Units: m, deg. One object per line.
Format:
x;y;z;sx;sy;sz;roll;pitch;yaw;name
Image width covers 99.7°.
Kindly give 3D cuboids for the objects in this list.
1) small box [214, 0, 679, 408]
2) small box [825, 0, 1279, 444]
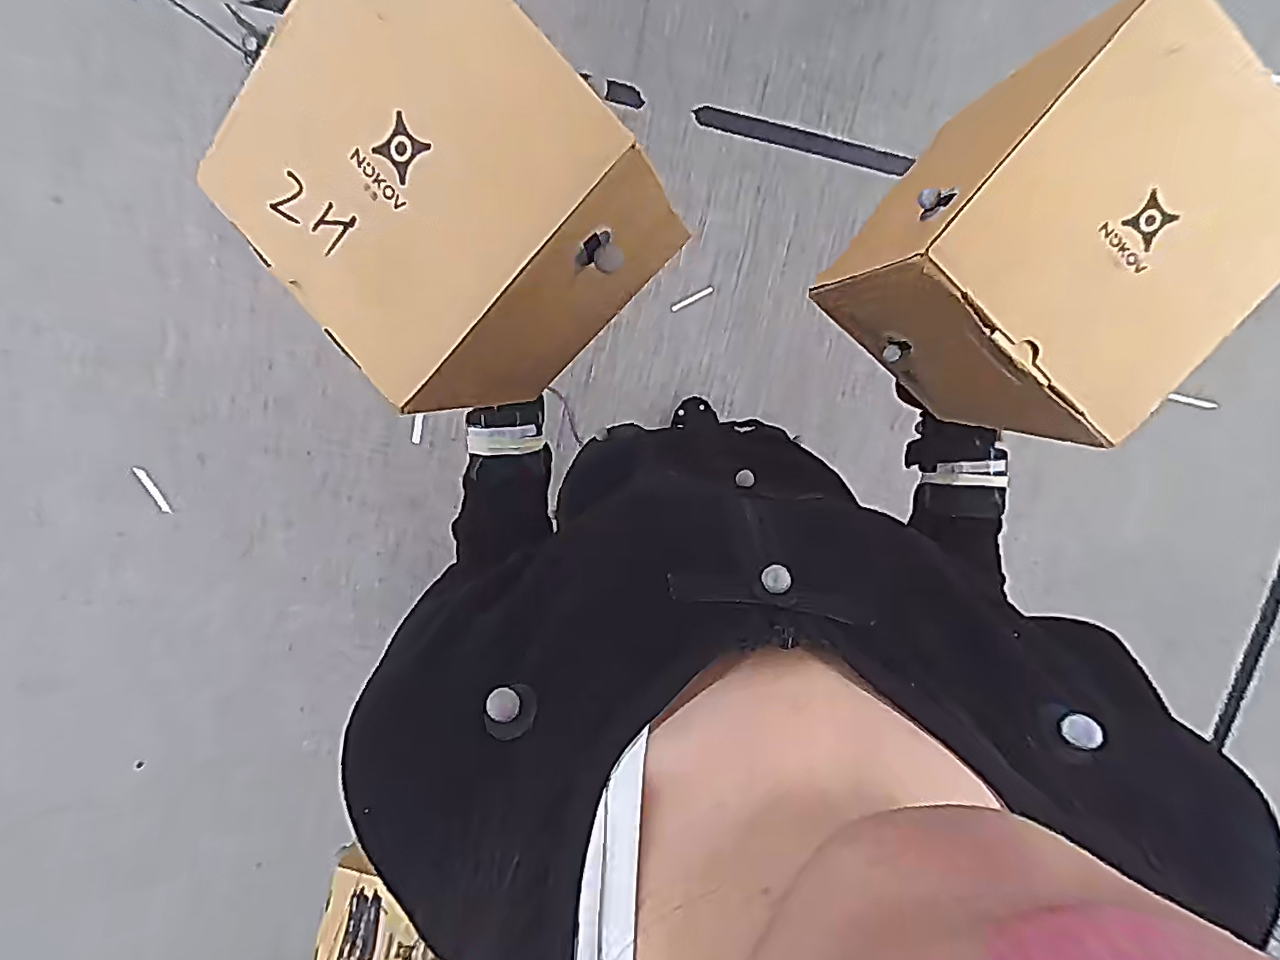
-0.091;-0.166;0.334;0.179;0.176;0.168;-42;88;18;small box
0.262;-0.154;0.367;0.168;0.176;0.179;38;99;-11;small box
